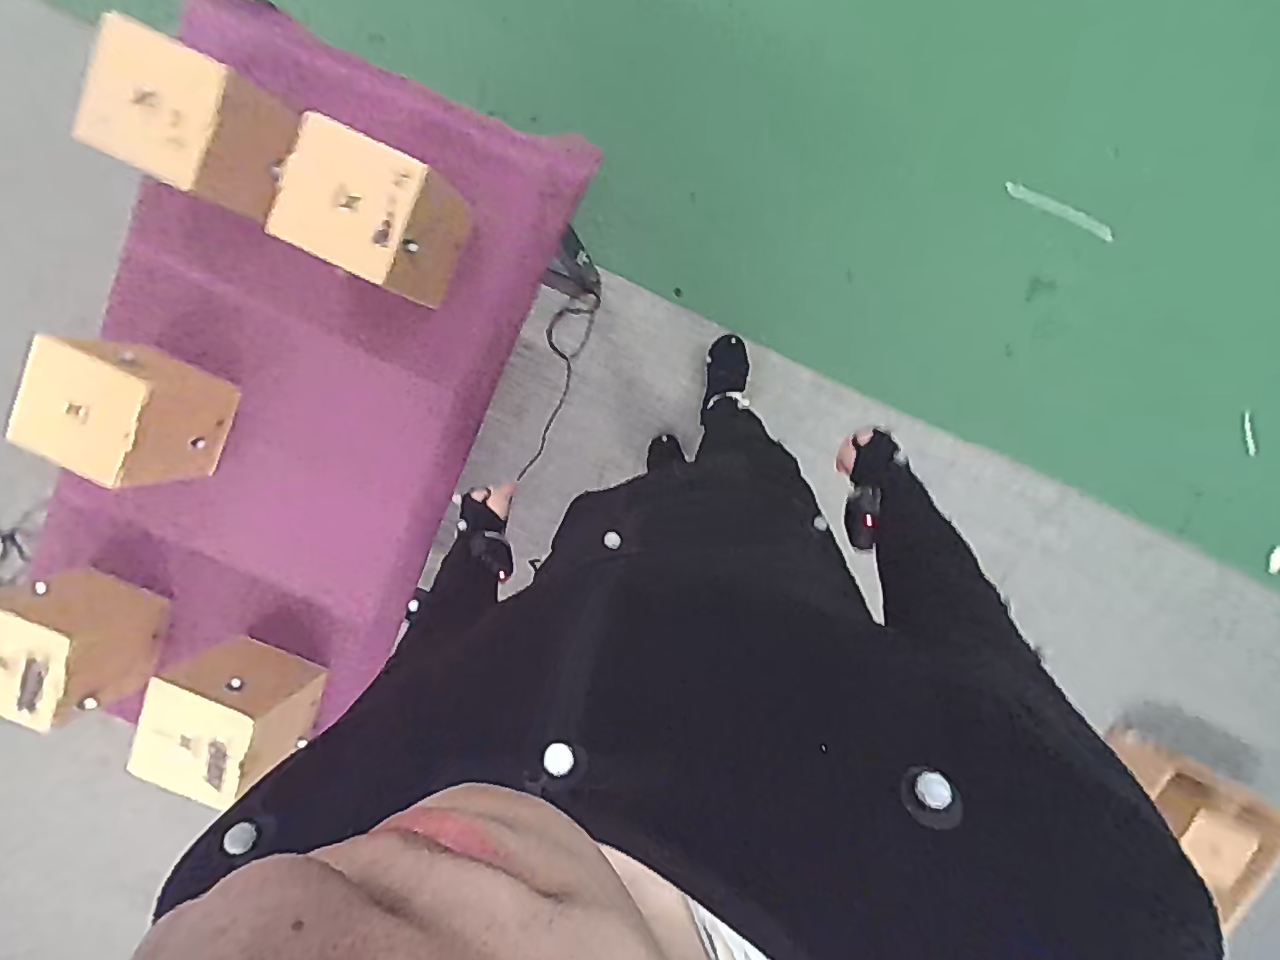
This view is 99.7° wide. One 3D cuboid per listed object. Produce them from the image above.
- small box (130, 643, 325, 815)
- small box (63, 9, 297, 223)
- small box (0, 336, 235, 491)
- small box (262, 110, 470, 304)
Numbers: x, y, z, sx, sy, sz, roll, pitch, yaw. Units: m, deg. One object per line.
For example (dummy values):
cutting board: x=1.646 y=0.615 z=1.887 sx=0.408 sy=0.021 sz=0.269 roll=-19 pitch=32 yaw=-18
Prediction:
small box: x=-0.660 y=0.393 z=0.885 sx=0.179 sy=0.176 sz=0.168 roll=20 pitch=97 yaw=2
small box: x=-0.634 y=-0.495 z=0.769 sx=0.179 sy=0.176 sz=0.168 roll=25 pitch=100 yaw=-1
small box: x=-0.788 y=-0.100 z=0.833 sx=0.179 sy=0.176 sz=0.168 roll=24 pitch=97 yaw=-1
small box: x=-0.377 y=-0.371 z=0.773 sx=0.179 sy=0.176 sz=0.168 roll=26 pitch=99 yaw=2
